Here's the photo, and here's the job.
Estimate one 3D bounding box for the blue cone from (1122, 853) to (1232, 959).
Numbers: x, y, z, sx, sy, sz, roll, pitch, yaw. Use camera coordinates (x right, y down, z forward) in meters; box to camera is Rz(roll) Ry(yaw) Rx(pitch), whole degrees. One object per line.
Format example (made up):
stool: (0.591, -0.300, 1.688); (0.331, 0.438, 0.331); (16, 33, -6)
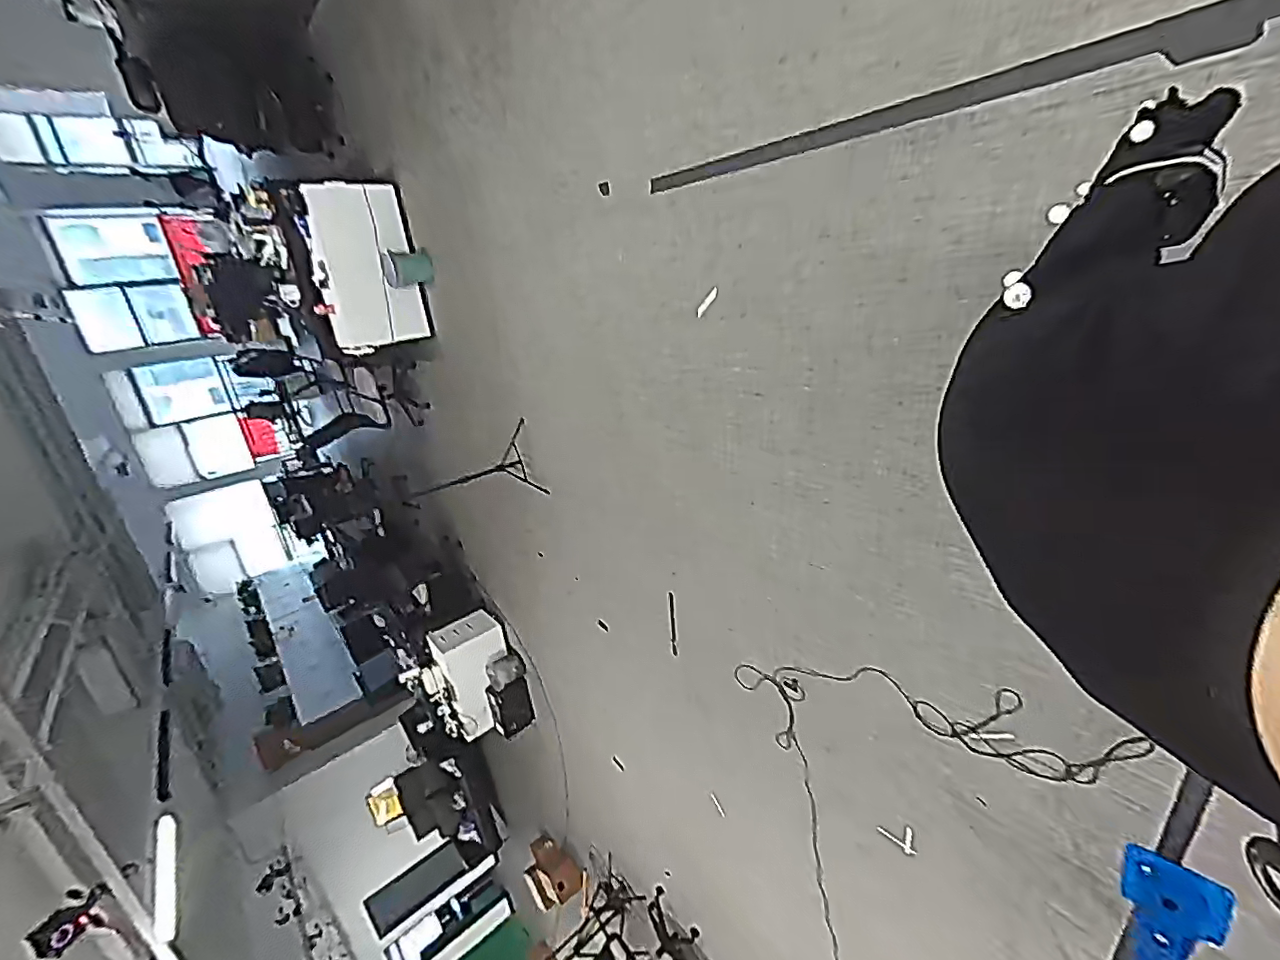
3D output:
blue cone: (1.234, 1.113, 1.276); (0.192, 0.380, 0.193); (14, 119, 48)
